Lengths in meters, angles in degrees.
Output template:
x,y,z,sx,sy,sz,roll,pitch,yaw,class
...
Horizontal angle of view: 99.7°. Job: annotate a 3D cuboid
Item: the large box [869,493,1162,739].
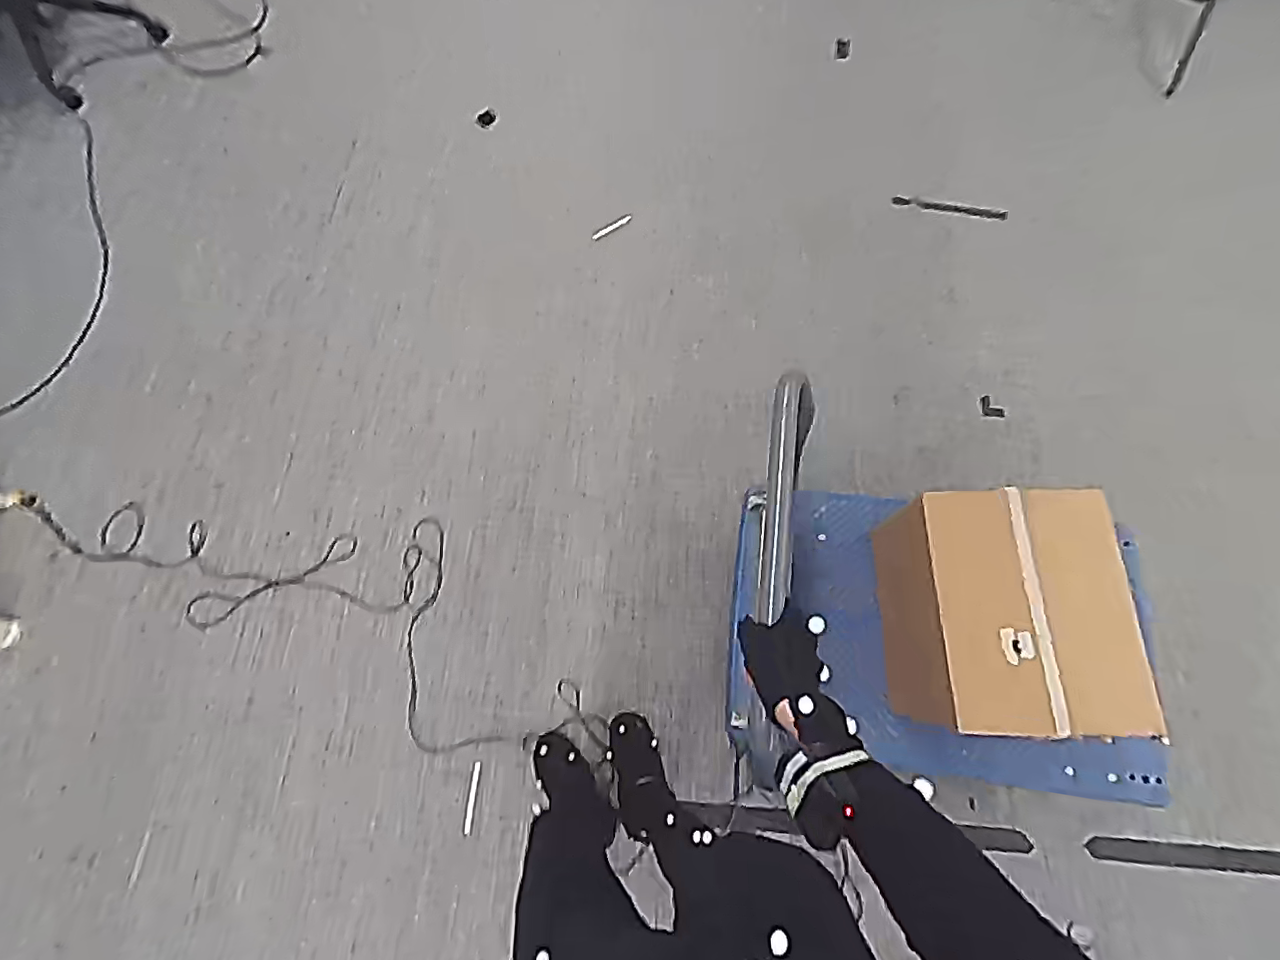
x,y,z,sx,sy,sz,roll,pitch,yaw,class
0.671,0.259,1.051,0.320,0.320,0.408,-1,72,6,large box
